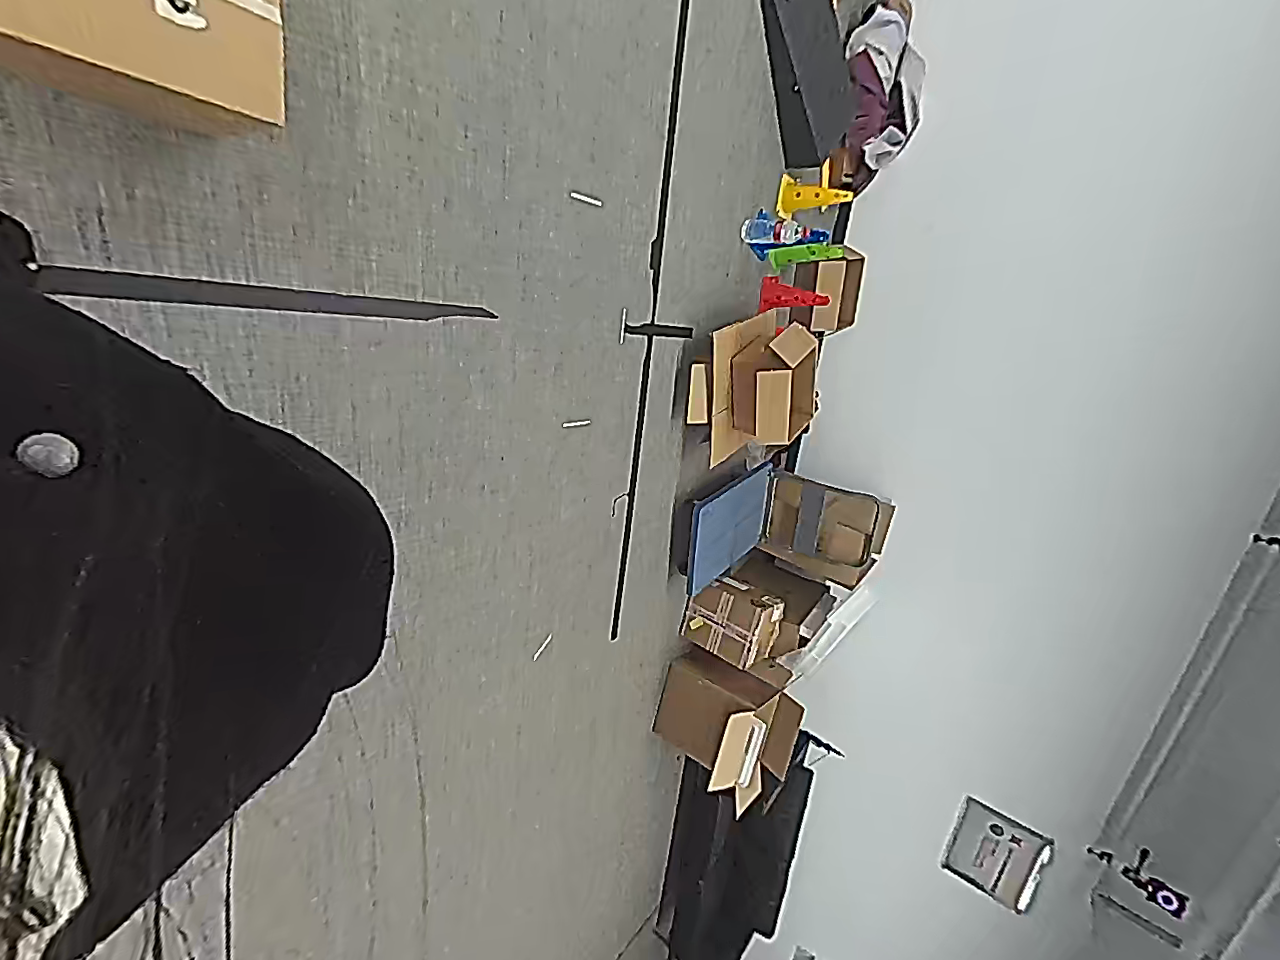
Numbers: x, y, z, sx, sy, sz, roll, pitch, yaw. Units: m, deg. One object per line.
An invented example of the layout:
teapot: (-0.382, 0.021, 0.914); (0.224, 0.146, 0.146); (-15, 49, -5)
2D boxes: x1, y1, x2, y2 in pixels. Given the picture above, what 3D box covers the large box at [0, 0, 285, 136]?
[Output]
large box: (-0.828, -0.766, 0.812); (0.408, 0.320, 0.320); (-13, 117, -52)
